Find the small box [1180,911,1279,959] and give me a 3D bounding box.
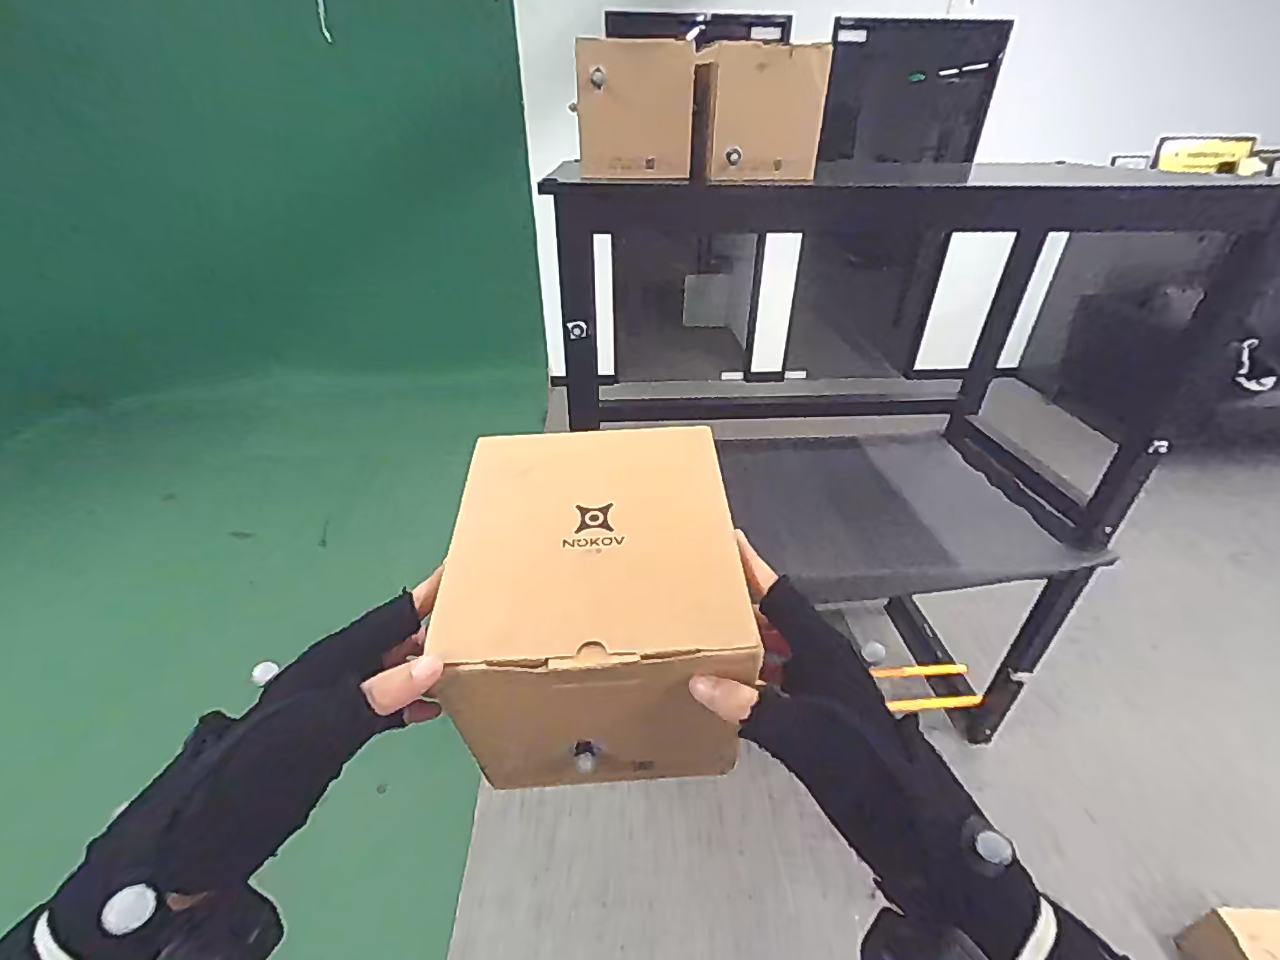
[{"bbox_3d":[1.283,1.012,1.098,0.179,0.176,0.168,1,32,2],"label":"small box"}]
